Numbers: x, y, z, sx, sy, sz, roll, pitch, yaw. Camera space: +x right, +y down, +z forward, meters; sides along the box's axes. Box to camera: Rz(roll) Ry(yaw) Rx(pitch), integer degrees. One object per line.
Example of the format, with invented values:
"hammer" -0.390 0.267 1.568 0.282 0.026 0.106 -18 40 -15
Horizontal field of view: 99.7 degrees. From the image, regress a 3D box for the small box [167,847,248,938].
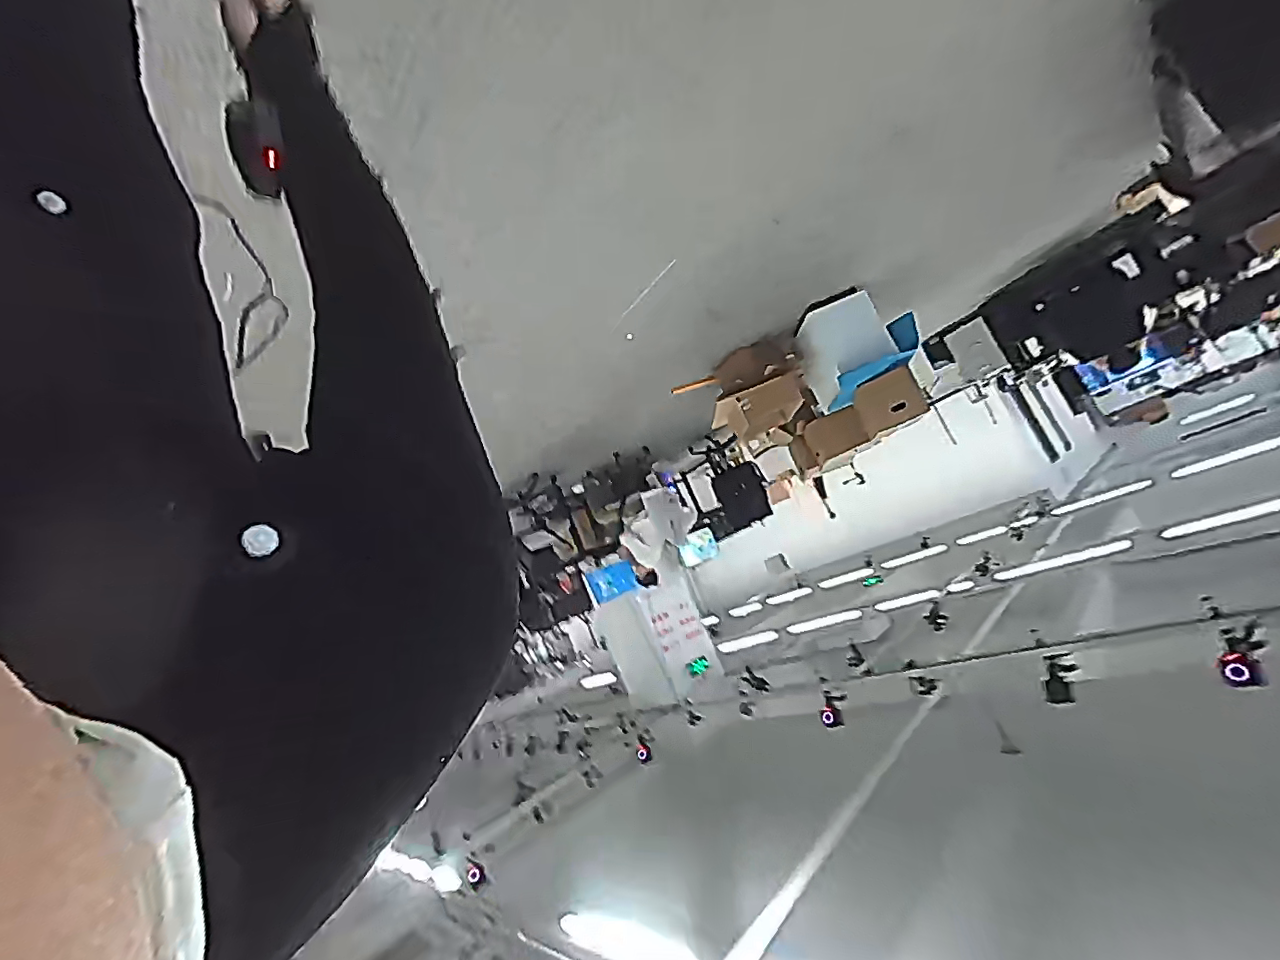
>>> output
"small box" -1.414 1.331 1.766 0.179 0.176 0.168 -13 165 -42
